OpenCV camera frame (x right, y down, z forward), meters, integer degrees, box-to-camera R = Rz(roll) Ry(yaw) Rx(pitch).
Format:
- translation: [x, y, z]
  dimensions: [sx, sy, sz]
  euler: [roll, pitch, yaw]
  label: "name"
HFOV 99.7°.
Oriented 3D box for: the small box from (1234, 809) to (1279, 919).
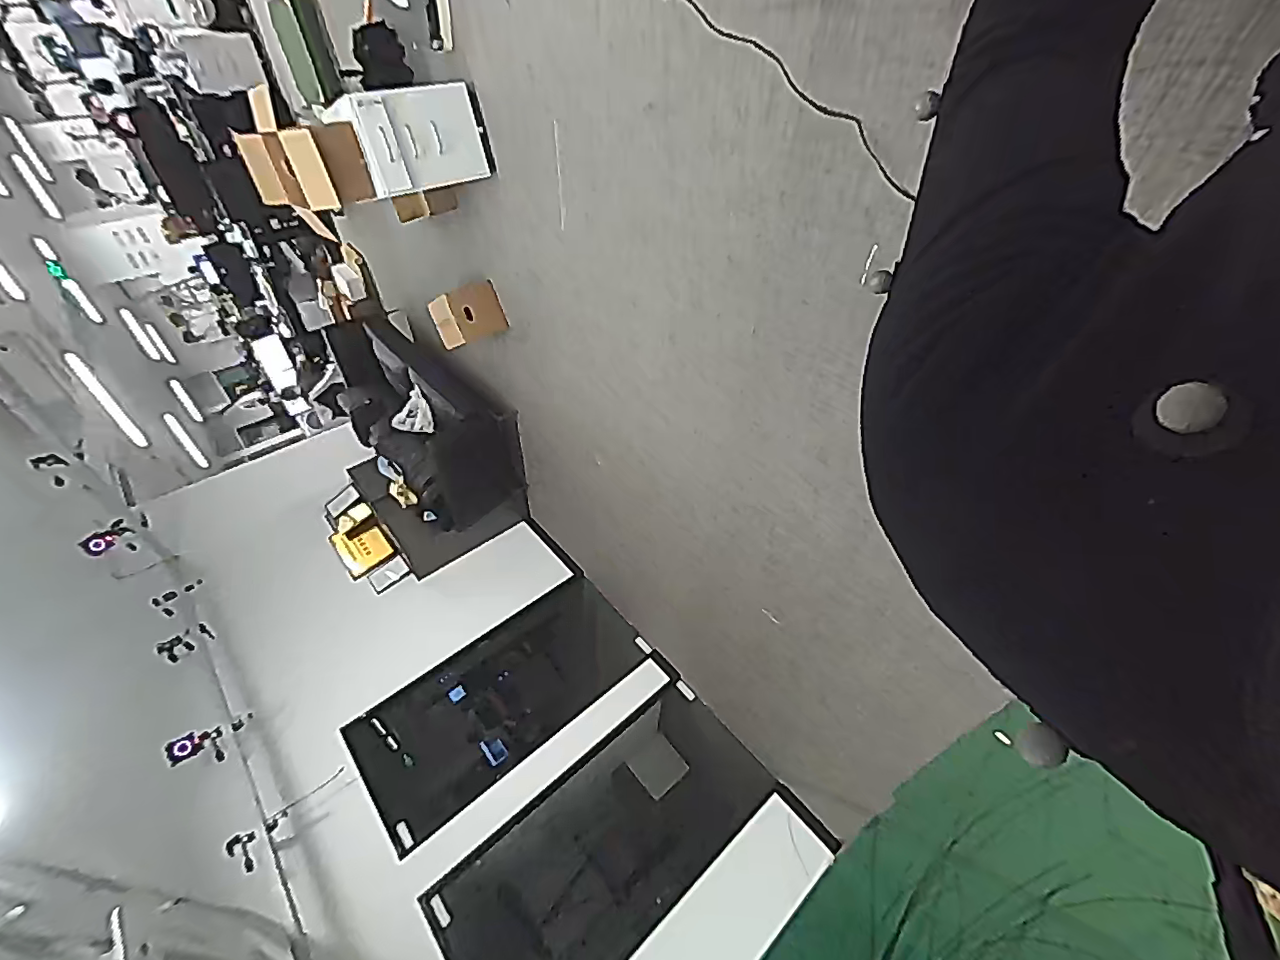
- translation: [1.243, 0.717, 0.959]
  dimensions: [0.179, 0.176, 0.168]
  euler: [42, 148, 27]
  label: "small box"
